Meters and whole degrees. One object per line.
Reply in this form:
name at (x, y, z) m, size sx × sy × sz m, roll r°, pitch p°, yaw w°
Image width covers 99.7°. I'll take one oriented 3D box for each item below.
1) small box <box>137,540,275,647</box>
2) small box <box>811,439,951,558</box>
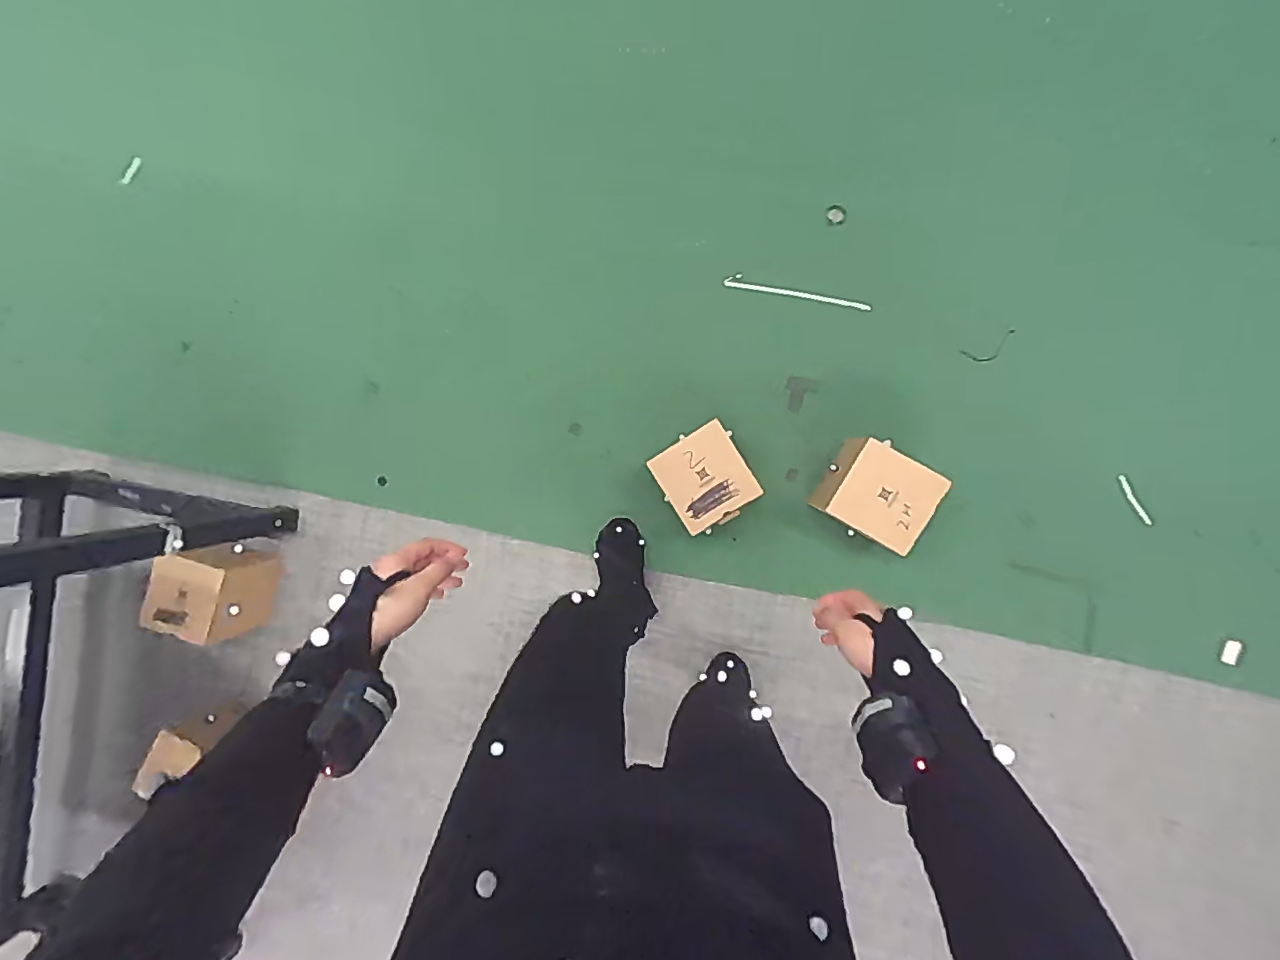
small box at (-0.987, 0.253, 1.244) m, size 0.168 × 0.176 × 0.179 m, roll 17°, pitch 93°, yaw 4°
small box at (0.472, 0.033, 1.094) m, size 0.179 × 0.176 × 0.168 m, roll 30°, pitch 96°, yaw 3°
